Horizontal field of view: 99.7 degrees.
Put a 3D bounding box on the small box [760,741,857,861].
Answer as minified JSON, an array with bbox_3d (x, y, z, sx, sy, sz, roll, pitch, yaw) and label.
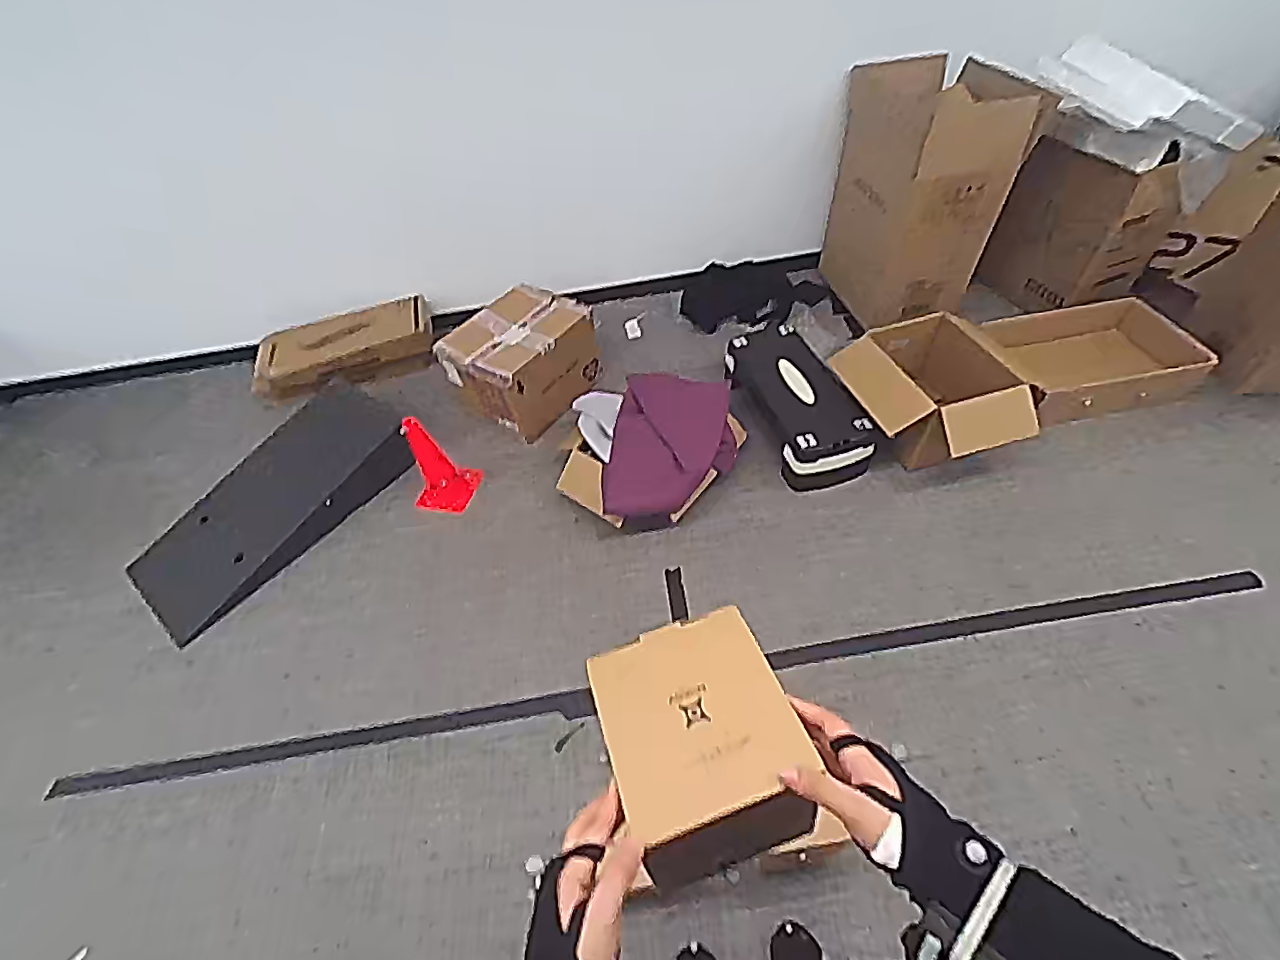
[{"bbox_3d":[0.297,0.632,1.061,0.179,0.176,0.168,-8,50,-1],"label":"small box"}]

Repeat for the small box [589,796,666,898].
[{"bbox_3d":[-0.006,0.792,1.179,0.179,0.176,0.168,-12,50,-2],"label":"small box"}]

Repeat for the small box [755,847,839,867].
[{"bbox_3d":[0.318,0.737,1.188,0.168,0.176,0.179,-8,51,0],"label":"small box"}]

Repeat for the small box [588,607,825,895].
[{"bbox_3d":[0.059,0.265,0.536,0.168,0.176,0.179,-19,42,-7],"label":"small box"}]
